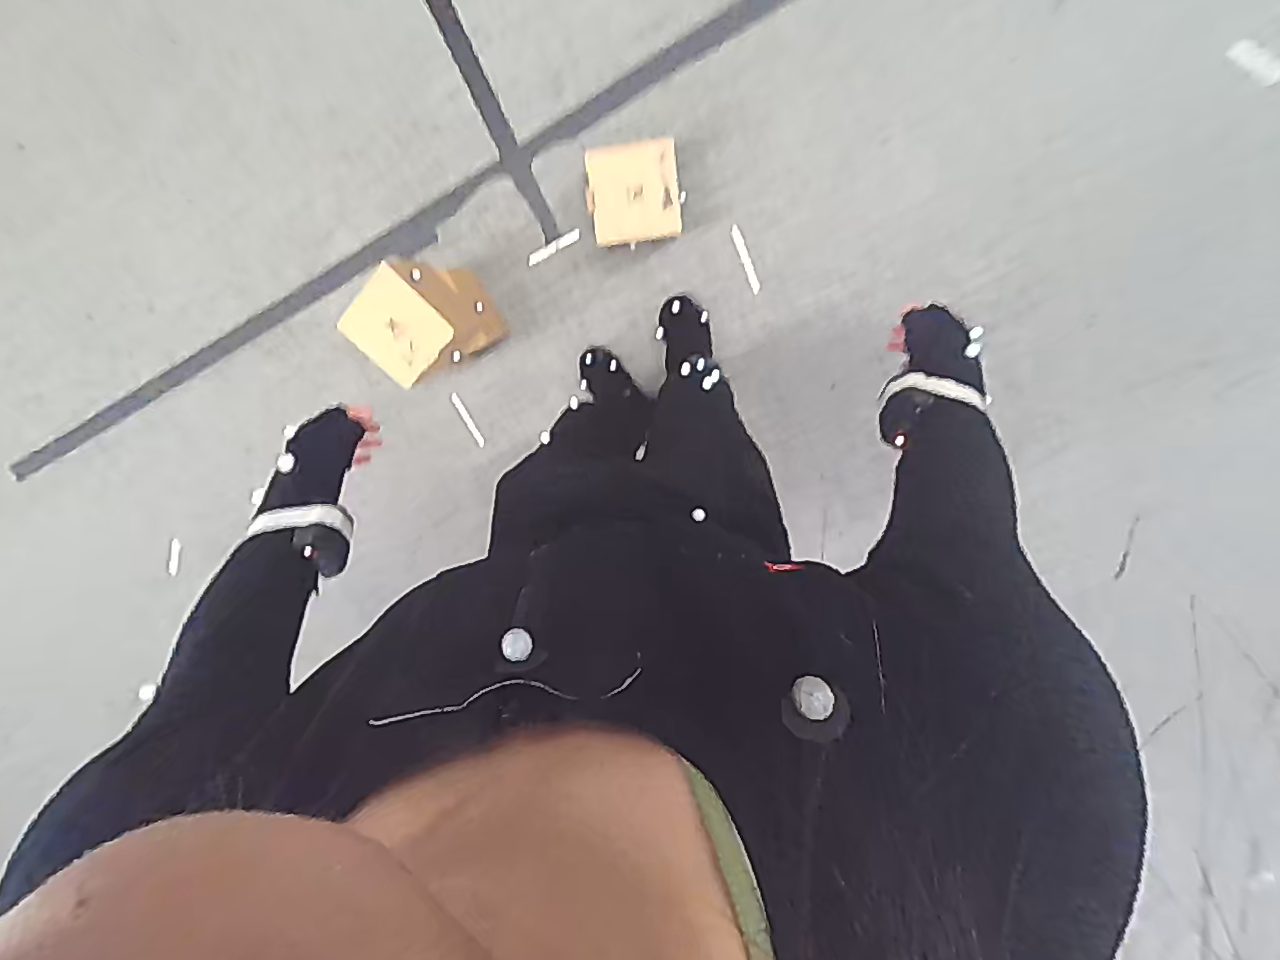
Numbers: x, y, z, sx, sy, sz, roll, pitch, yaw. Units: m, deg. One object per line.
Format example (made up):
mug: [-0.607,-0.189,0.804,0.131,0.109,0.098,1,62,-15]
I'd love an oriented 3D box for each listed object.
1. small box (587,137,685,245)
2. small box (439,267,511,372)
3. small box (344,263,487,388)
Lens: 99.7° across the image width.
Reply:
small box: [-0.001,-0.595,1.136,0.179,0.176,0.168,-8,112,6]
small box: [-0.427,-0.378,1.261,0.168,0.176,0.179,-24,109,14]
small box: [-0.449,-0.321,1.107,0.168,0.176,0.179,-36,108,19]
